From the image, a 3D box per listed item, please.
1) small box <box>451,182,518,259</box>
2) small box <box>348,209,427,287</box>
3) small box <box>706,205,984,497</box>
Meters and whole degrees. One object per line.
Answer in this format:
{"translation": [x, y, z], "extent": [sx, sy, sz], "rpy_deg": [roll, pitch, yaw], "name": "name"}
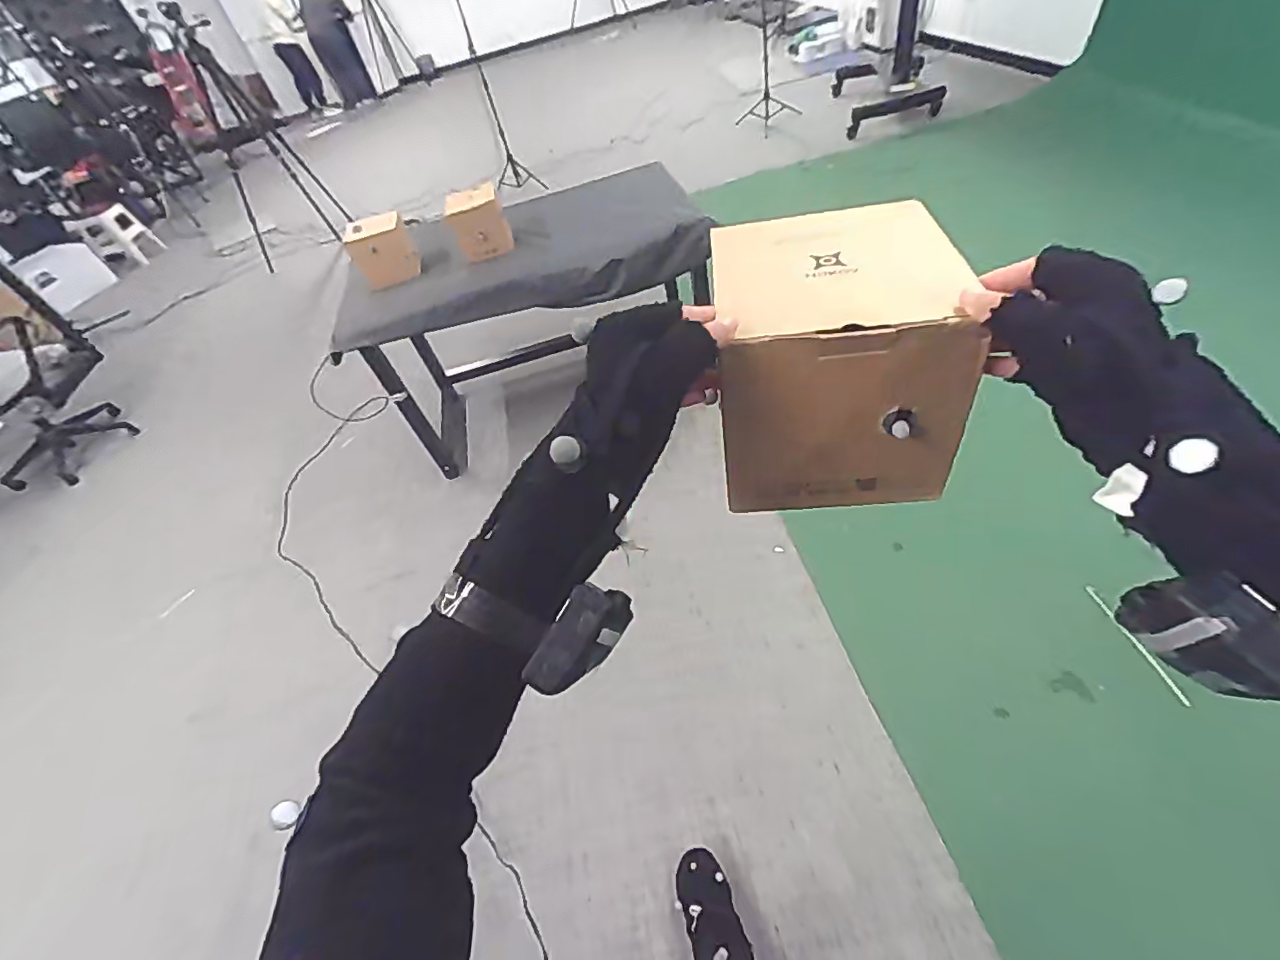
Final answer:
{"translation": [-0.514, -0.855, 1.797], "extent": [0.168, 0.176, 0.179], "rpy_deg": [-16, 48, 0], "name": "small box"}
{"translation": [-0.834, -0.768, 1.798], "extent": [0.179, 0.176, 0.168], "rpy_deg": [-17, 47, -3], "name": "small box"}
{"translation": [0.142, -0.098, 0.442], "extent": [0.168, 0.176, 0.179], "rpy_deg": [-3, 44, 9], "name": "small box"}
